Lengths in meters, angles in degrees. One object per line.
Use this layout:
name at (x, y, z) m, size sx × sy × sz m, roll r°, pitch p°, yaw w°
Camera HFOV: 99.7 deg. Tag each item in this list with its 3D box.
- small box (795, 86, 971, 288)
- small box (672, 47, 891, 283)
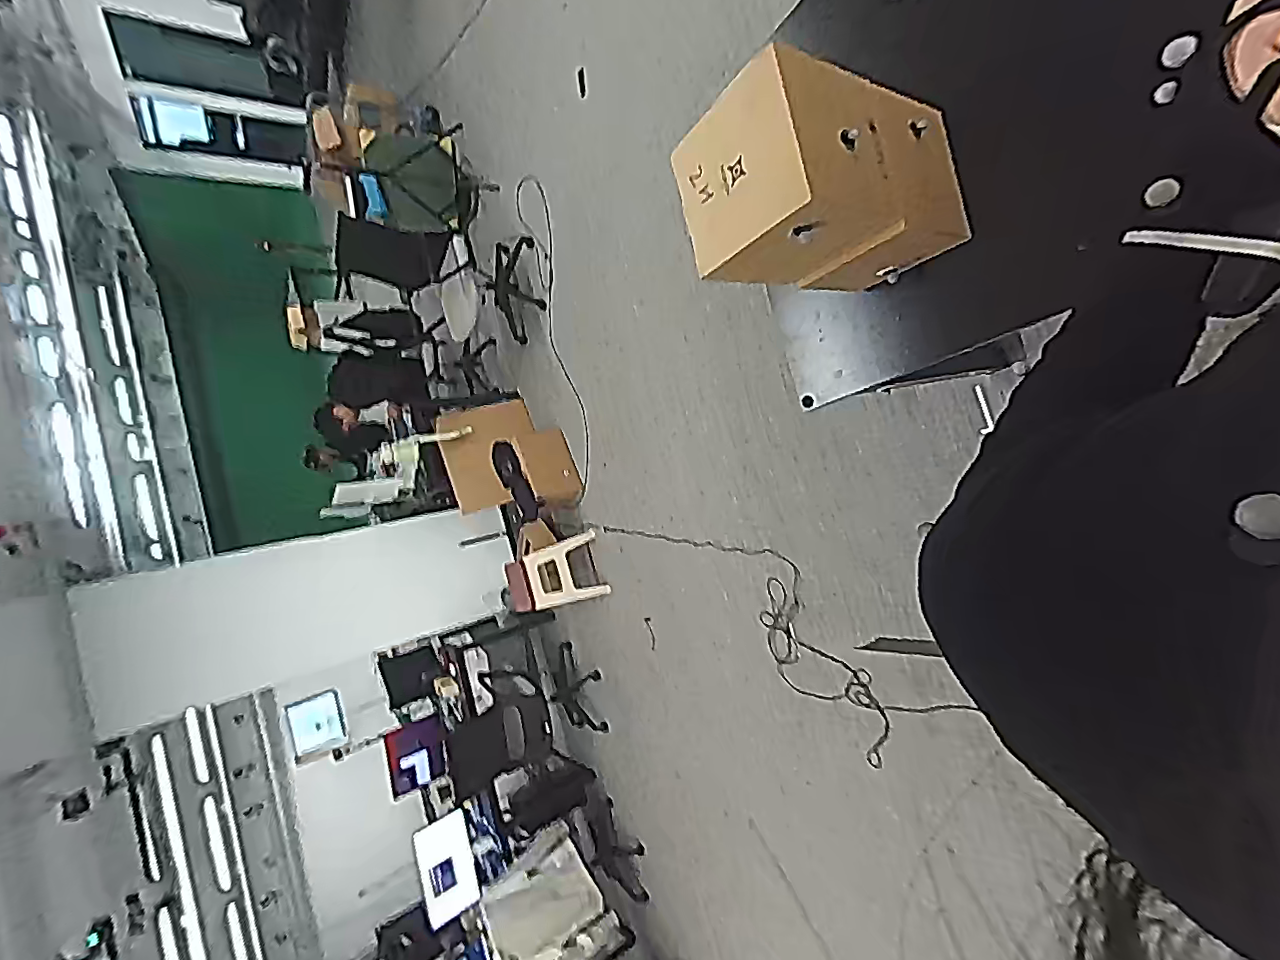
small box at (0.308, -0.373, 0.727) m, size 0.168 × 0.176 × 0.179 m, roll -16°, pitch 88°, yaw 57°
small box at (0.170, -0.349, 0.639) m, size 0.179 × 0.176 × 0.168 m, roll -16°, pitch 87°, yaw 57°
